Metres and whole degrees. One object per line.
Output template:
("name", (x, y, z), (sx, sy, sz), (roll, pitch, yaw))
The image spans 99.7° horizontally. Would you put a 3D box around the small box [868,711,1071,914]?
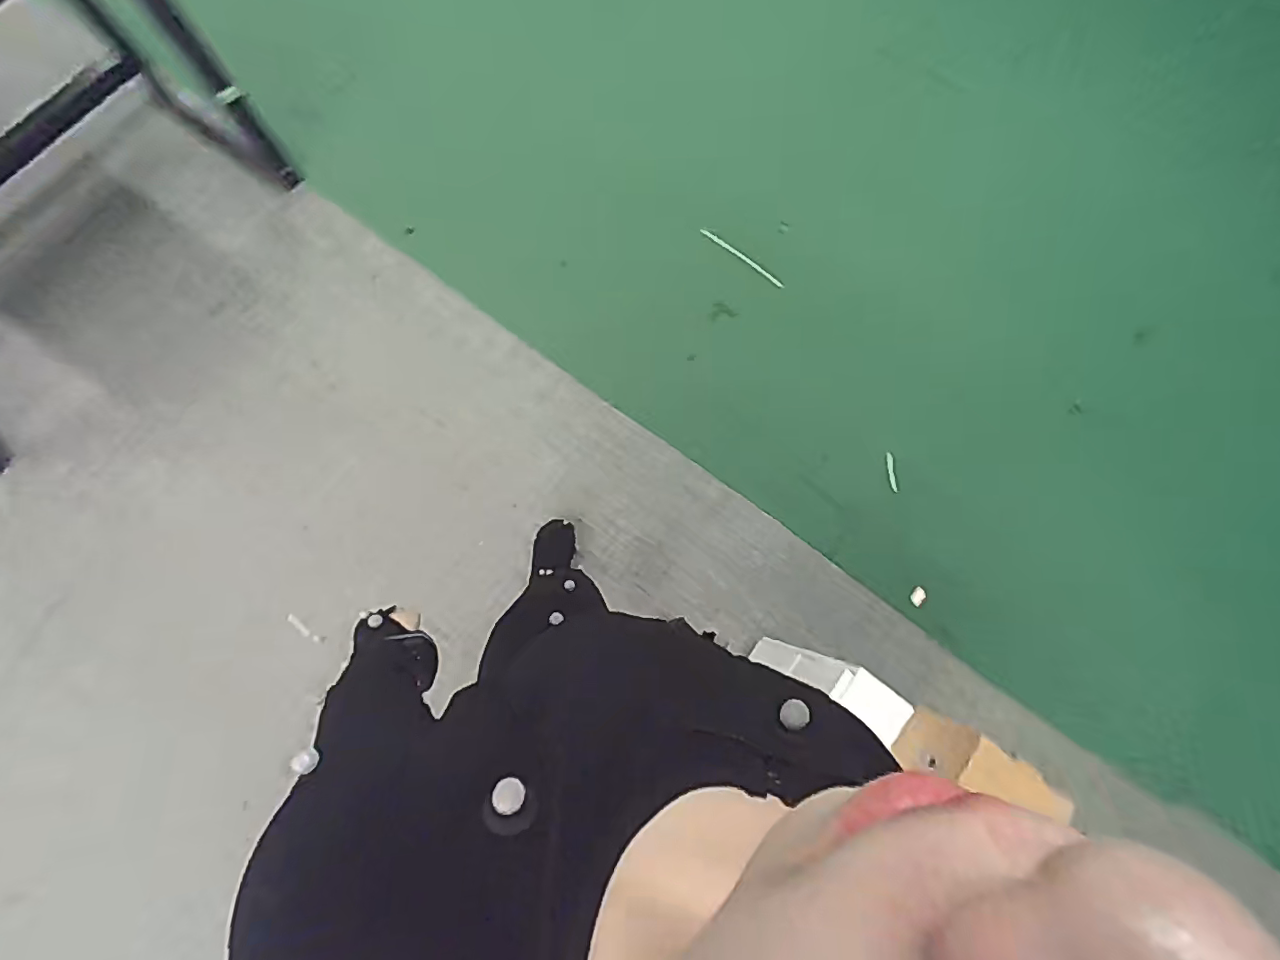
("small box", (0.488, 0.487, 0.828), (0.168, 0.176, 0.179), (38, 79, 3))
